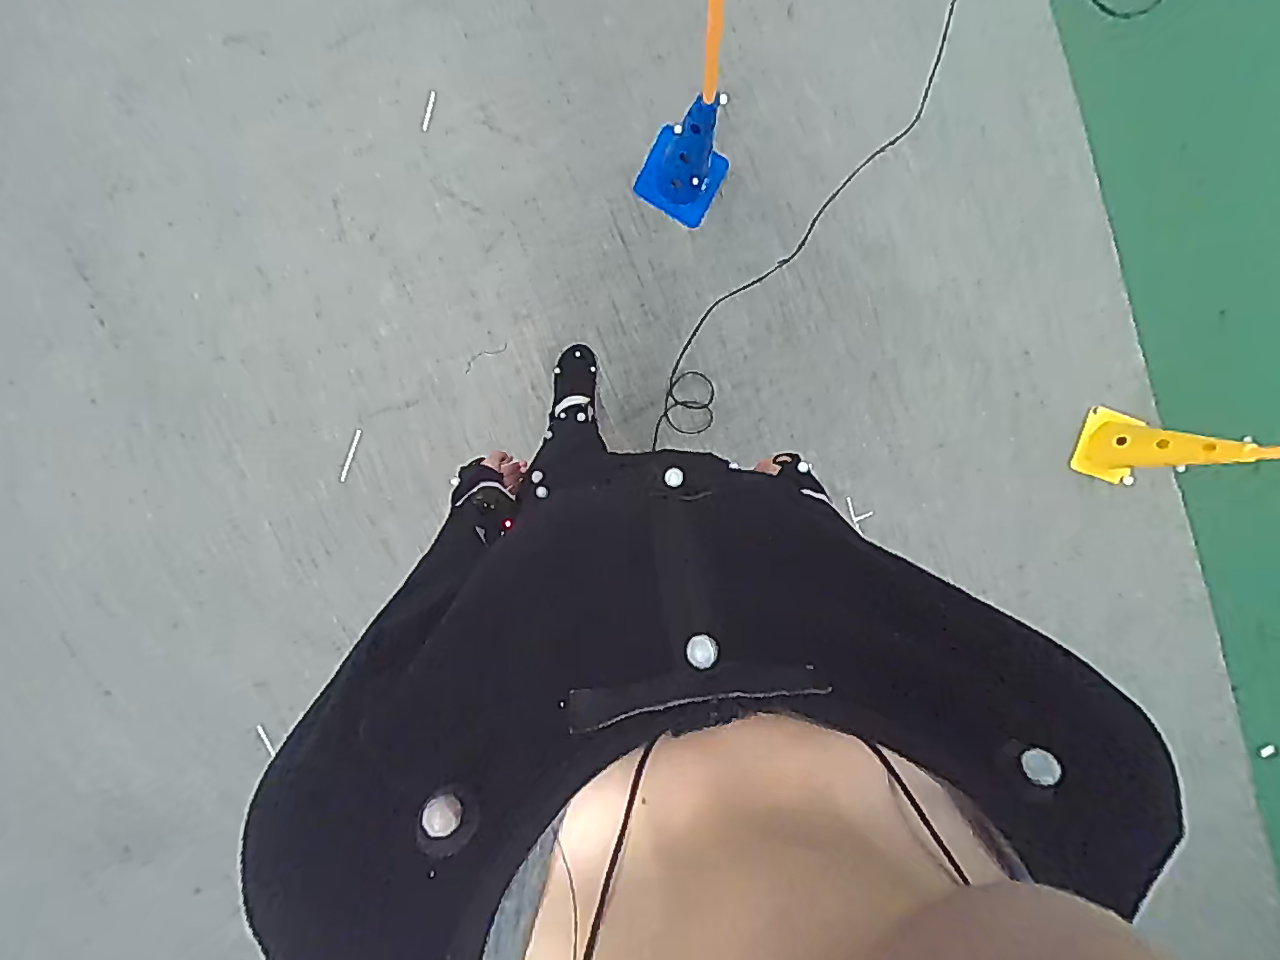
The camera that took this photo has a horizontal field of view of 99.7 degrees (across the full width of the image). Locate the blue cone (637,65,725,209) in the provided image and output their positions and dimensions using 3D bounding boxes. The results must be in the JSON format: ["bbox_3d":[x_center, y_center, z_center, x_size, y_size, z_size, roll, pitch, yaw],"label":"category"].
[{"bbox_3d":[0.116,-0.788,1.217,0.193,0.380,0.192,26,94,-7],"label":"blue cone"}]
